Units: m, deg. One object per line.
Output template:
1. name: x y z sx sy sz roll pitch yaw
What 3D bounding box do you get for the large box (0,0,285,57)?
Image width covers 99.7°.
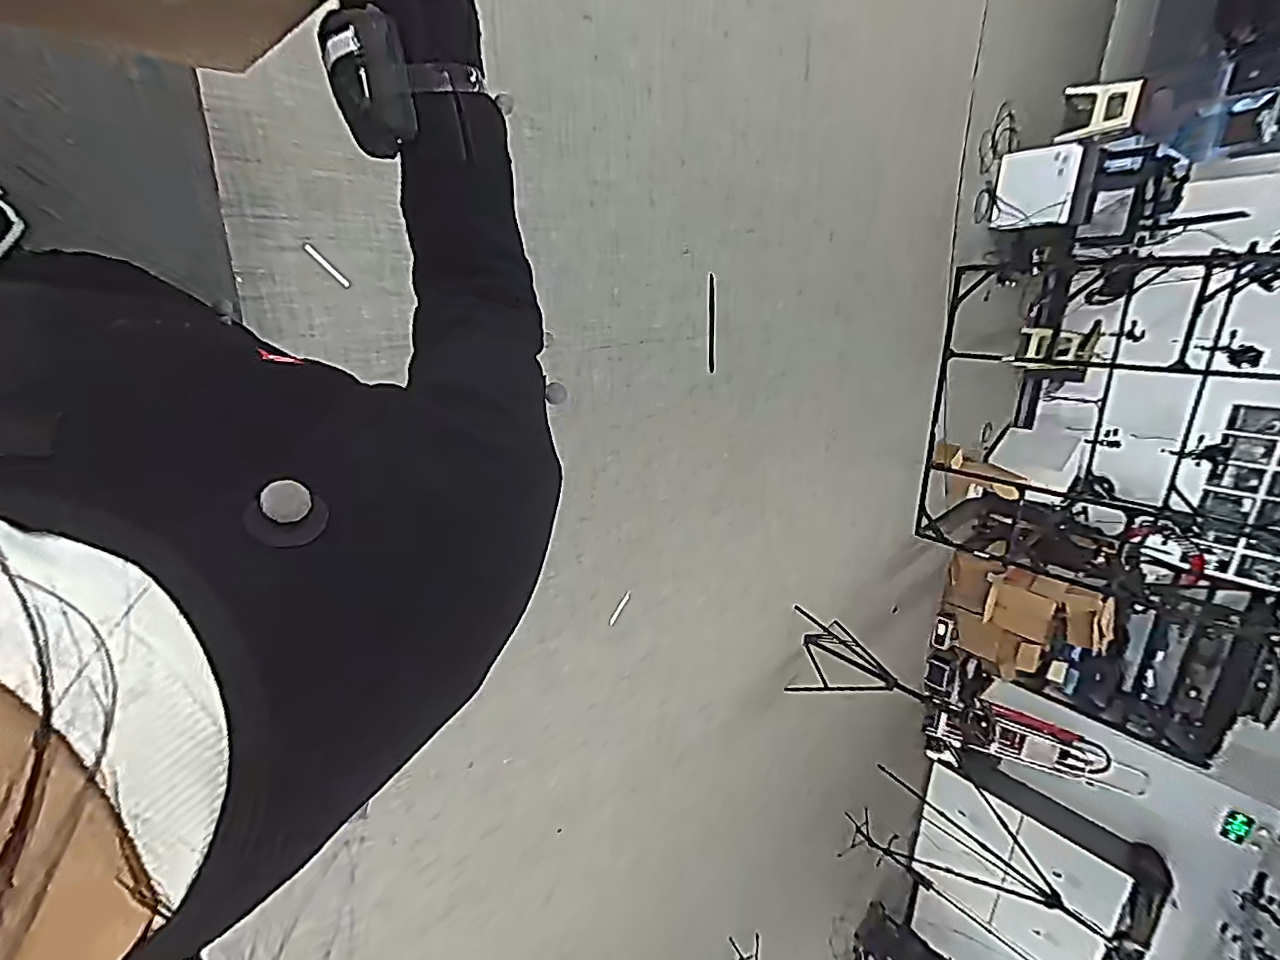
1. large box: -0.415 -0.410 0.208 0.408 0.320 0.320 -19 125 -37

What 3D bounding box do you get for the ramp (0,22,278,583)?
1. ramp: -1.039 -0.284 1.011 0.509 0.206 0.991 -17 116 -39
